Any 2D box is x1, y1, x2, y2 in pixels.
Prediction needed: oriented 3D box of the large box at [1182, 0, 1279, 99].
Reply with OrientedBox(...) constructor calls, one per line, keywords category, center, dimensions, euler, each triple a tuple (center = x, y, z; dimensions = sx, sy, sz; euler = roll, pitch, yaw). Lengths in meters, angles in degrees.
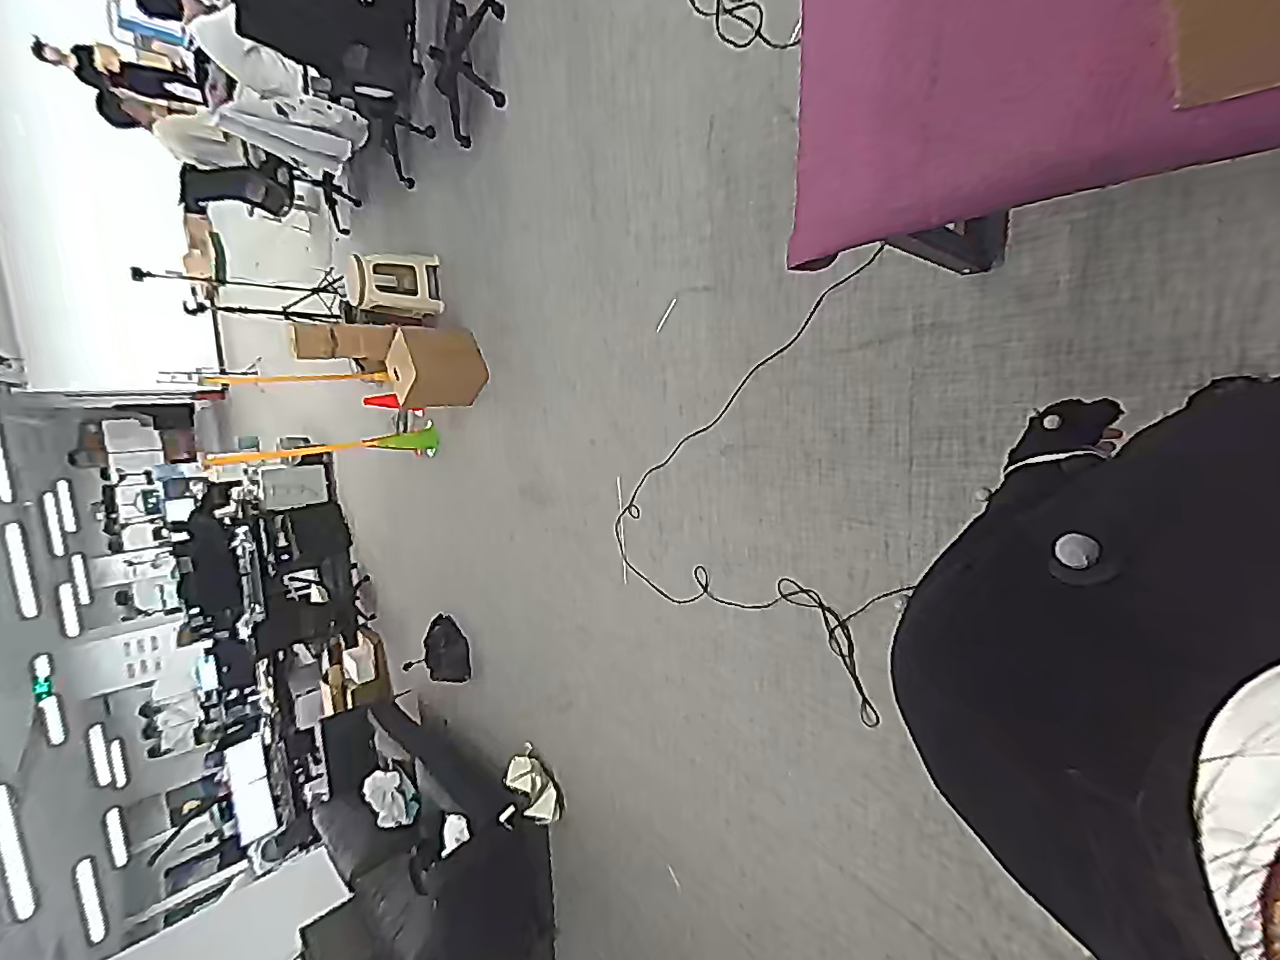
OrientedBox(category="large box", center=(0.539, -0.527, 0.290), dimensions=(0.320, 0.320, 0.408), euler=(11, 105, 45))
